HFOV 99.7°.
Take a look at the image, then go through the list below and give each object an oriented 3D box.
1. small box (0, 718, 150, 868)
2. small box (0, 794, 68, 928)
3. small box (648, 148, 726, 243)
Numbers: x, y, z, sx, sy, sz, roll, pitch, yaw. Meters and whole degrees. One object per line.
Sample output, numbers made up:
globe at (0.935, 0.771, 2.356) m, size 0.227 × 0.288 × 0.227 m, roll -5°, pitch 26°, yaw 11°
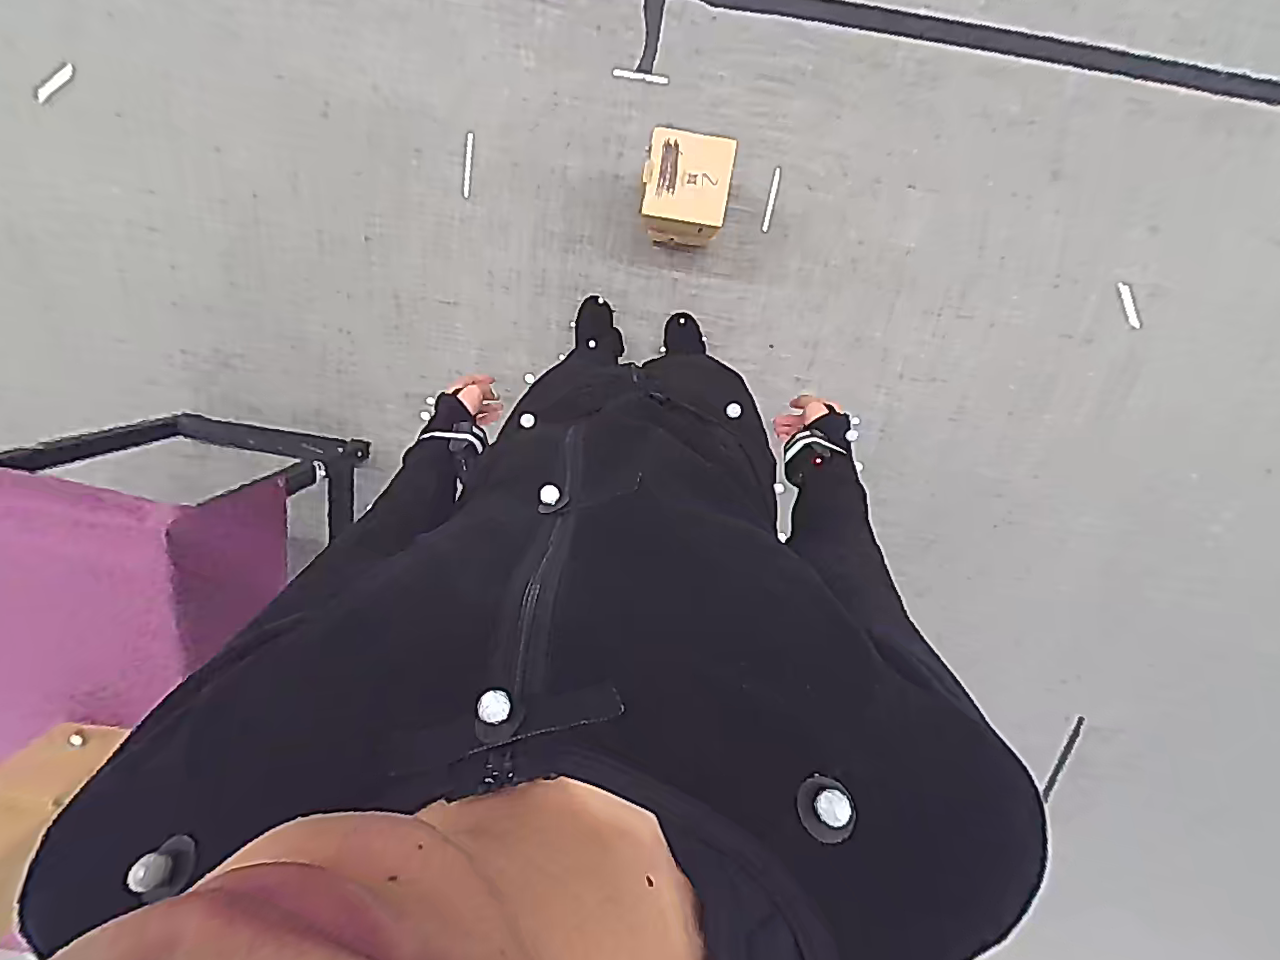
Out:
small box at (-1.096, 0.592, 1.036) m, size 0.168 × 0.176 × 0.179 m, roll 6°, pitch 107°, yaw 0°
small box at (-1.107, 0.642, 0.879) m, size 0.179 × 0.176 × 0.168 m, roll 12°, pitch 108°, yaw -1°
small box at (0.113, -0.698, 1.345) m, size 0.168 × 0.176 × 0.179 m, roll 6°, pitch 107°, yaw 0°
